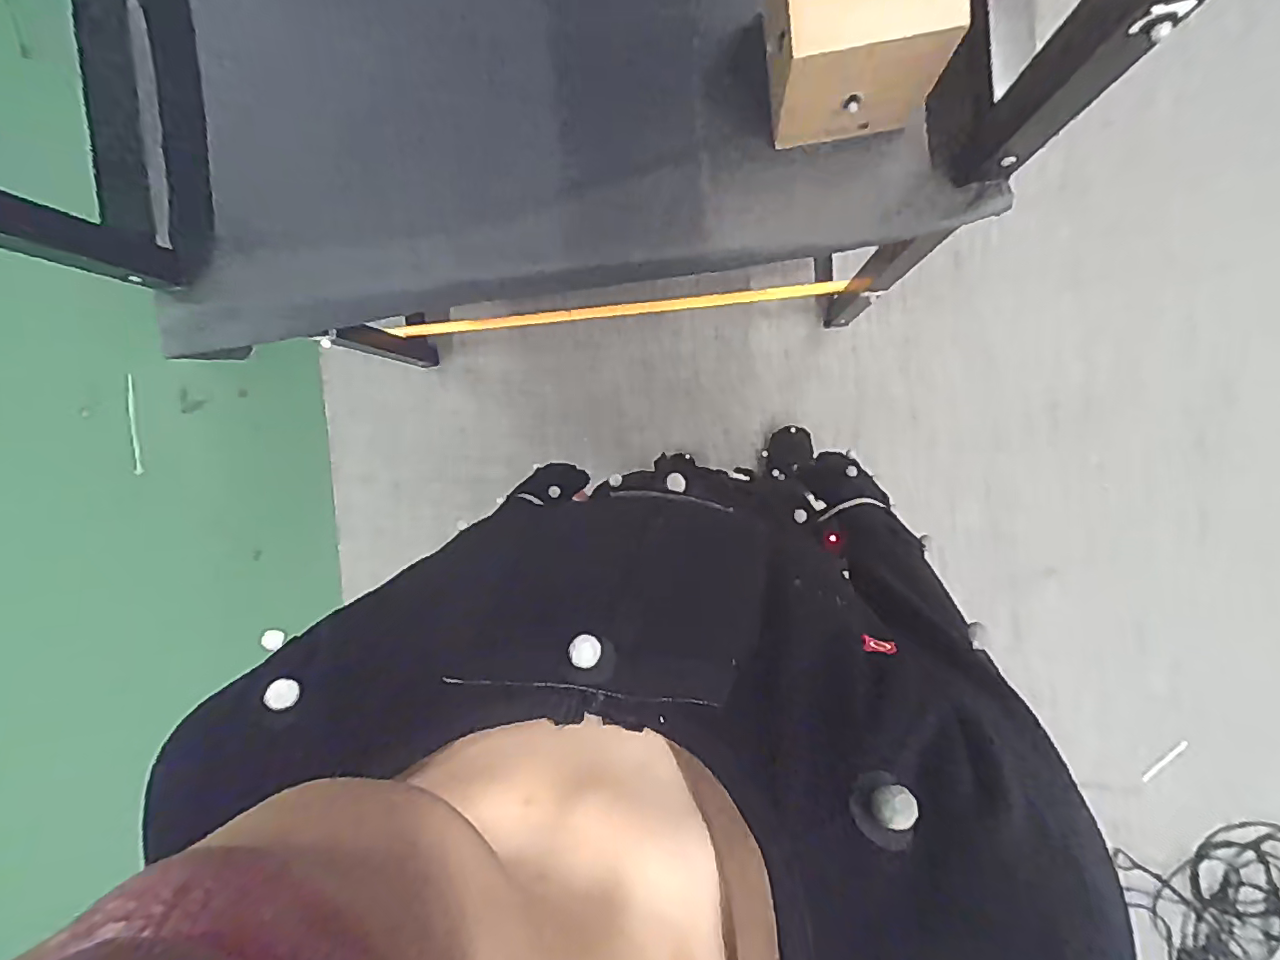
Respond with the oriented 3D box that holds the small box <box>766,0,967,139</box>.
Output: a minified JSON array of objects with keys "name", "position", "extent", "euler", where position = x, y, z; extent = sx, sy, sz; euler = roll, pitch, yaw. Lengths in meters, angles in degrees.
[{"name":"small box","position":[0.235,-0.512,0.601],"extent":[0.168,0.176,0.179],"euler":[-5,92,8]}]
